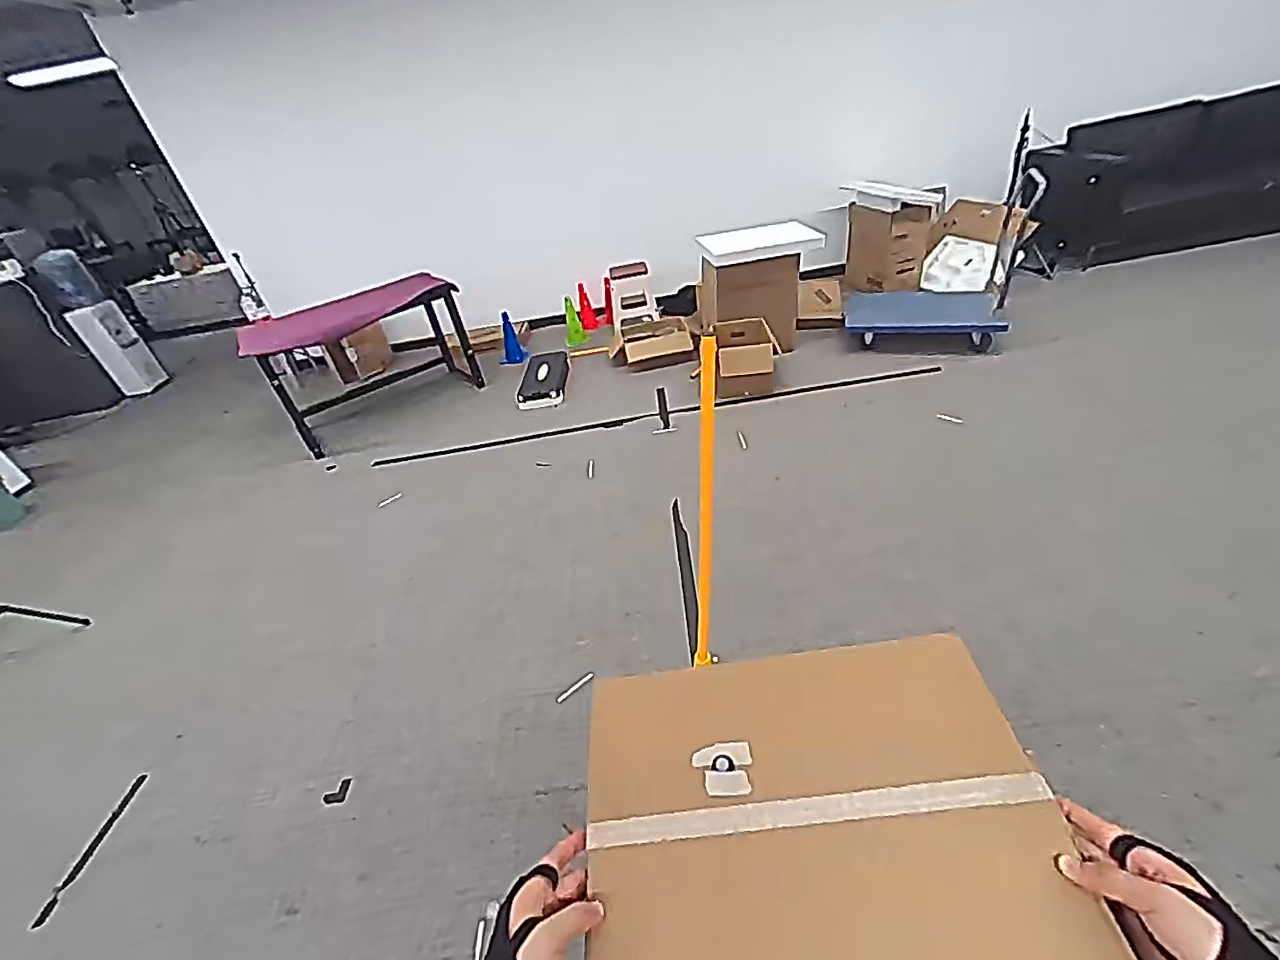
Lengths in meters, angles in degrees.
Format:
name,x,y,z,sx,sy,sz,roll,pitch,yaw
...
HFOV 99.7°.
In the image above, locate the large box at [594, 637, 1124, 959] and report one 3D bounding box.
name,x,y,z,sx,sy,sz,roll,pitch,yaw
large box,0.183,0.418,0.594,0.408,0.320,0.320,-11,40,6
